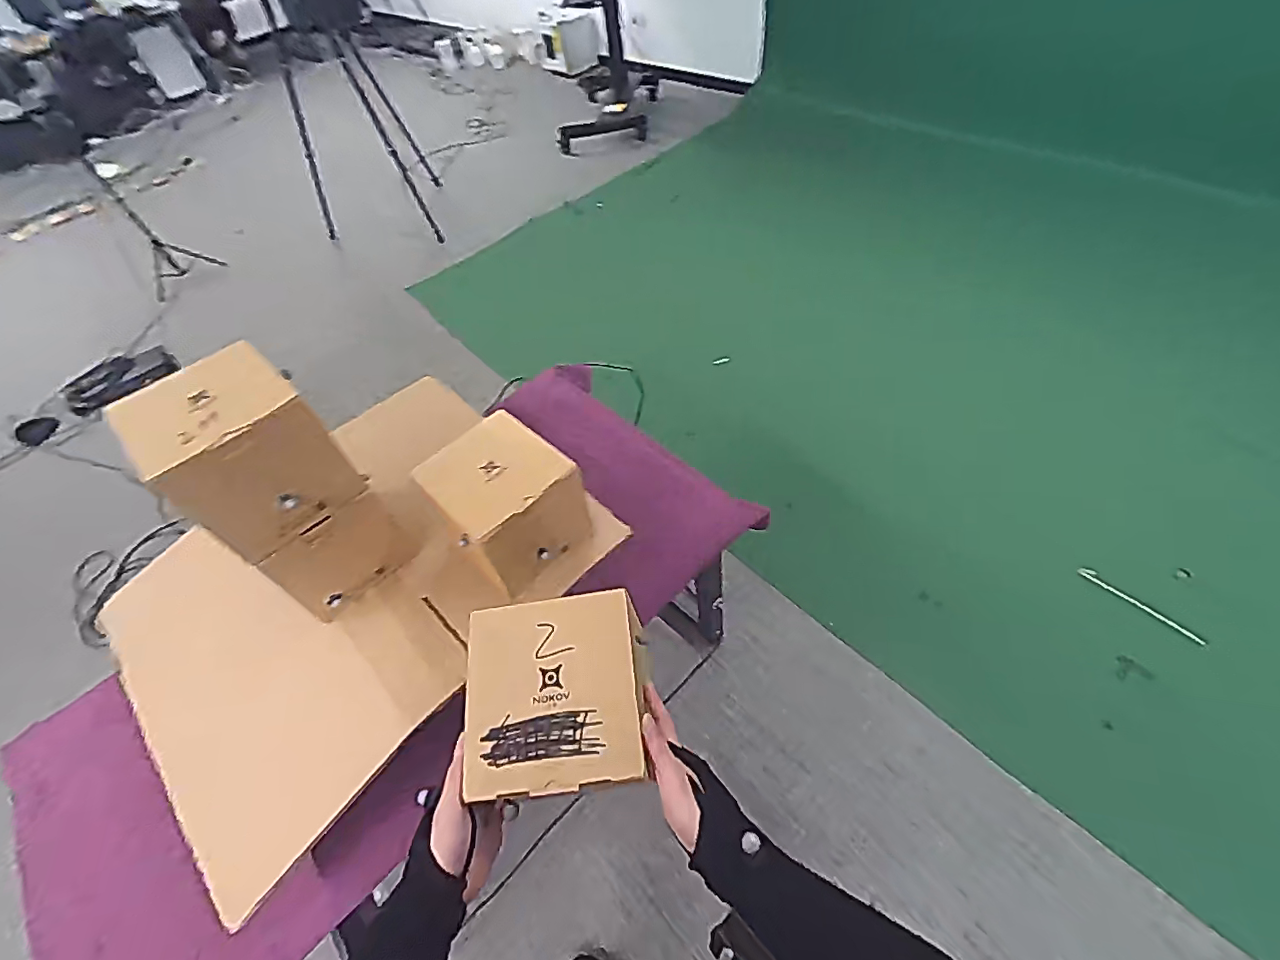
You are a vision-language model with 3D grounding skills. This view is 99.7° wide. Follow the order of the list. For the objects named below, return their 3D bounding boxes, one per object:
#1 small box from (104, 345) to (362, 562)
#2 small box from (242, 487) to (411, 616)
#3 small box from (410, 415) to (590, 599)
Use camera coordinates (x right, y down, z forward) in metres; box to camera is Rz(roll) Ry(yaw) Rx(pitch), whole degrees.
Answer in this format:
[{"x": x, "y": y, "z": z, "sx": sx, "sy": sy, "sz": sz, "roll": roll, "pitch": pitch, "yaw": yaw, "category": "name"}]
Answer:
[{"x": -0.490, "y": -0.031, "z": 0.671, "sx": 0.179, "sy": 0.176, "sz": 0.168, "roll": 35, "pitch": 62, "yaw": 28, "category": "small box"}, {"x": -0.474, "y": 0.074, "z": 0.796, "sx": 0.179, "sy": 0.176, "sz": 0.168, "roll": 34, "pitch": 61, "yaw": 29, "category": "small box"}, {"x": -0.196, "y": 0.042, "z": 0.795, "sx": 0.179, "sy": 0.176, "sz": 0.168, "roll": 35, "pitch": 62, "yaw": 28, "category": "small box"}]
